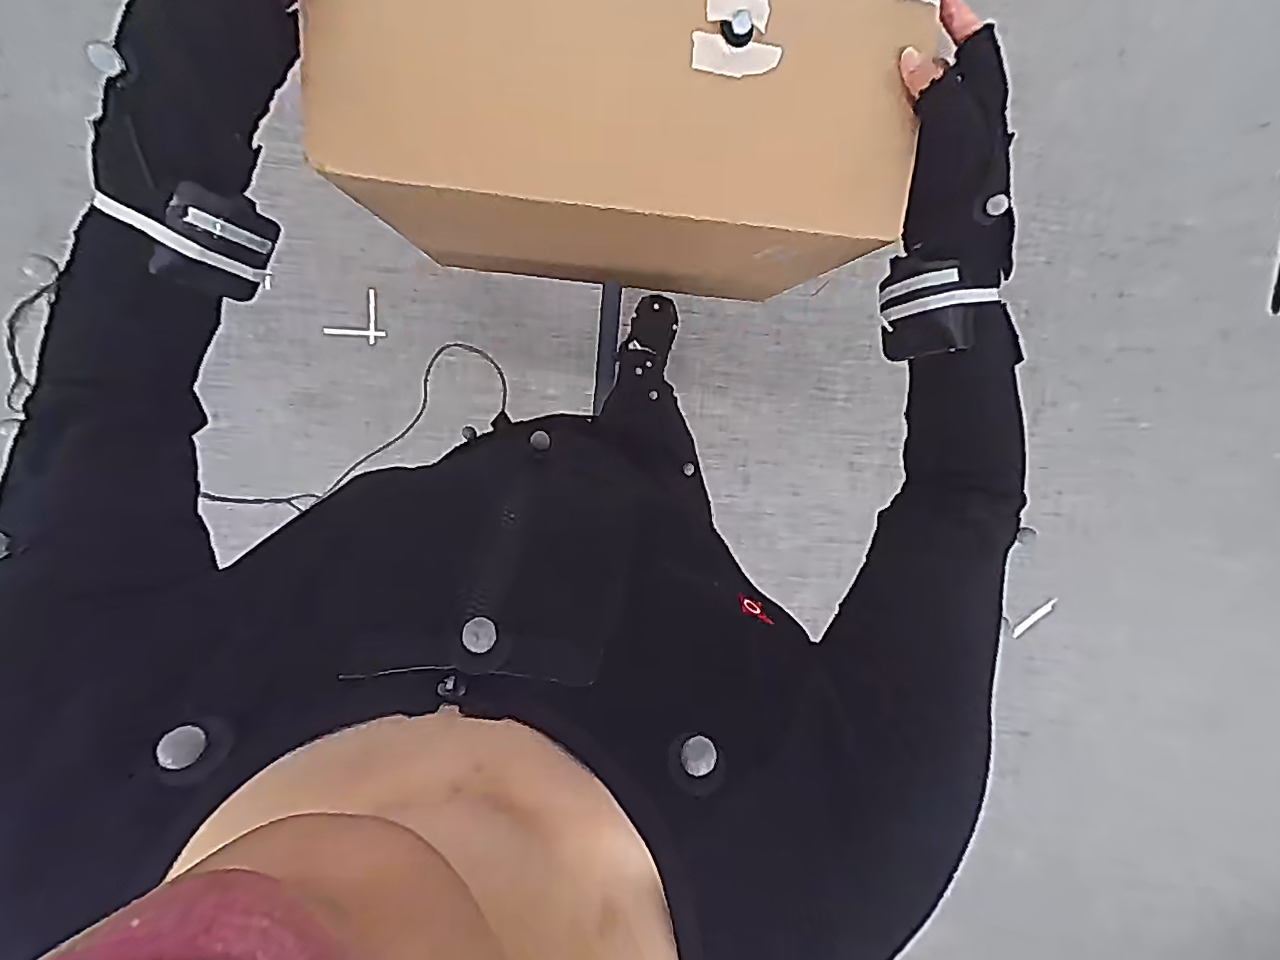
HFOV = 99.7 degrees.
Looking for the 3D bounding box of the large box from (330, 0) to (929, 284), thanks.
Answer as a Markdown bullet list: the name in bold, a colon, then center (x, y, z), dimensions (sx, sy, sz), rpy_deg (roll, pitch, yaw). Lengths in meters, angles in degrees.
- **large box**: center (-0.012, -0.379, 0.497), dimensions (0.408, 0.320, 0.320), rpy_deg (3, 101, -7)
